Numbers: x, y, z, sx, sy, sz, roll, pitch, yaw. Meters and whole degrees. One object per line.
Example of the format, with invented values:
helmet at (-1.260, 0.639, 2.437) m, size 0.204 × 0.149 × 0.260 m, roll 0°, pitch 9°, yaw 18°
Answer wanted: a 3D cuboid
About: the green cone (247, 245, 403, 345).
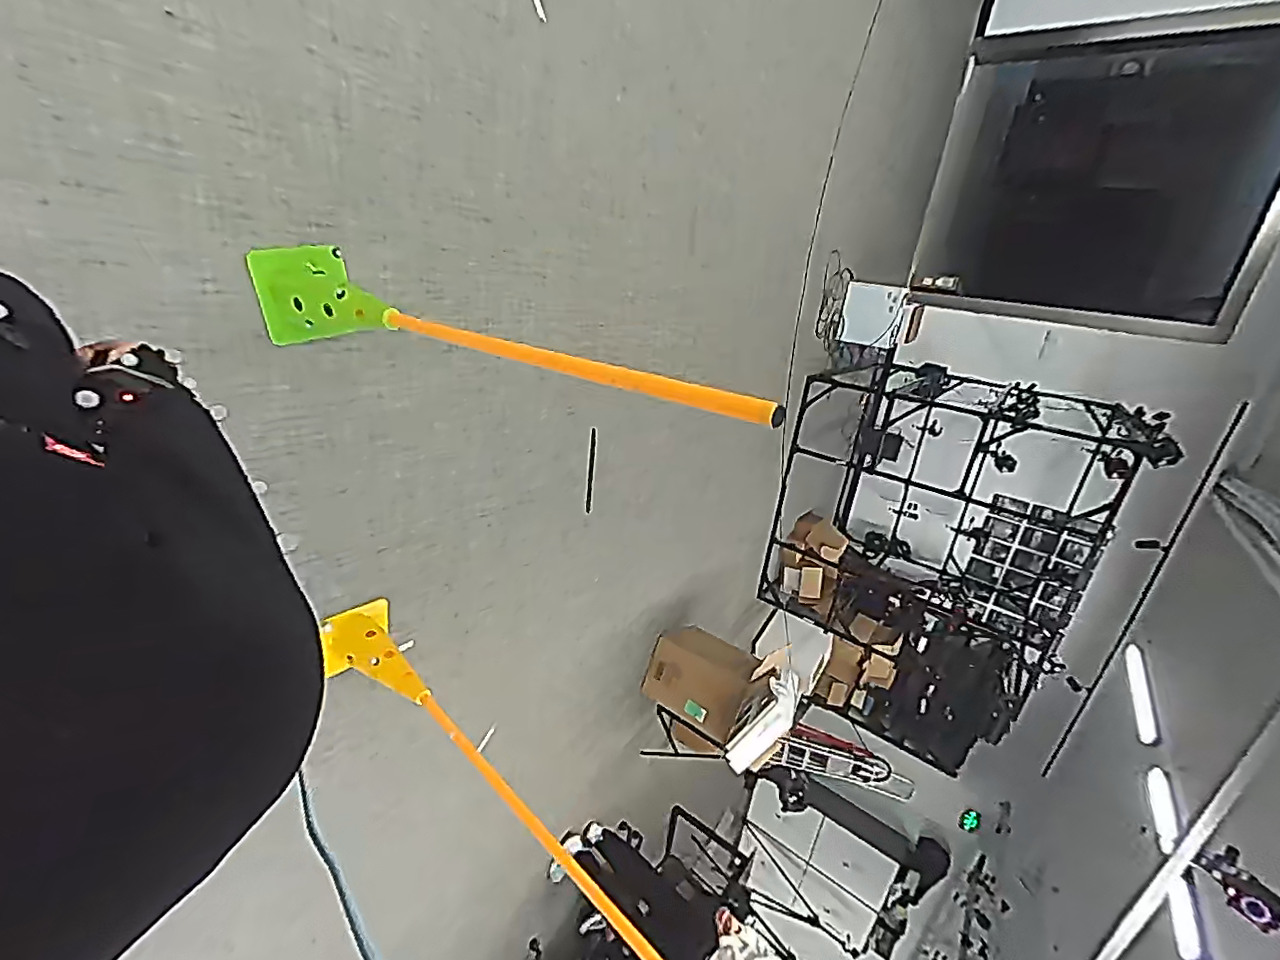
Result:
green cone at (-0.622, -0.362, 1.135) m, size 0.200 × 0.368 × 0.202 m, roll -32°, pitch 135°, yaw -44°
